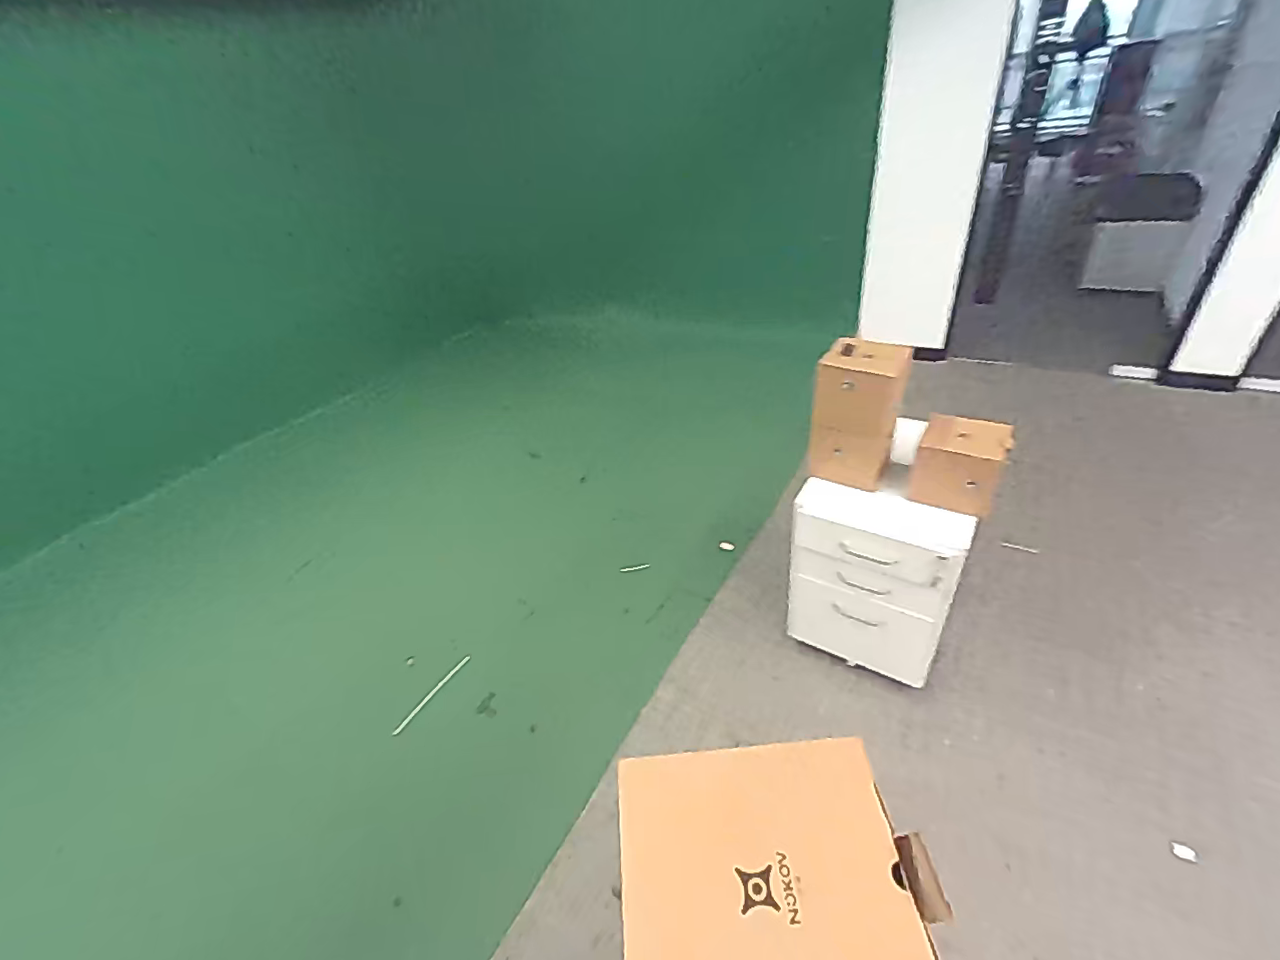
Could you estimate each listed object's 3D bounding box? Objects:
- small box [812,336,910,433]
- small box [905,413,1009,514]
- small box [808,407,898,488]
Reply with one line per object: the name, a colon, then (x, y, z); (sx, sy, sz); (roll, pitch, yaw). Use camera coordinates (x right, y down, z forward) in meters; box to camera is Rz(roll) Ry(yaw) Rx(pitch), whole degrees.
small box: (0.540, -0.235, 1.334); (0.179, 0.176, 0.168); (19, 45, 29)
small box: (0.762, -0.040, 1.308); (0.179, 0.176, 0.168); (15, 42, 32)
small box: (0.557, -0.102, 1.430); (0.179, 0.176, 0.168); (18, 45, 31)
